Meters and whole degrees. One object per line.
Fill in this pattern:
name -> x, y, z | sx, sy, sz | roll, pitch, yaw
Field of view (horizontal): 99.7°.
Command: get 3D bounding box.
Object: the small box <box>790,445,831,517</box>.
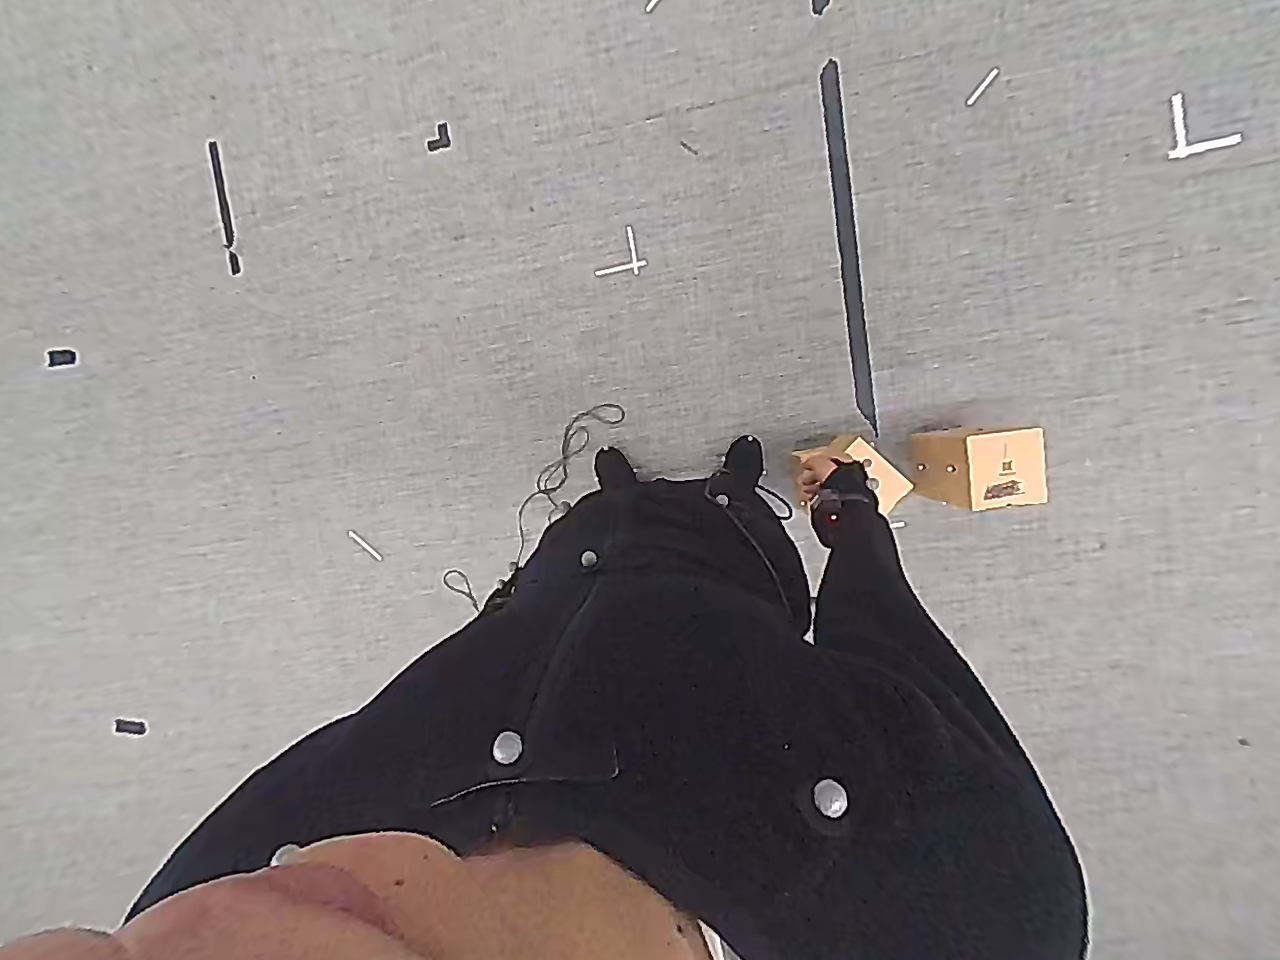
small box -> 0.525, -0.005, 1.510 | 0.168, 0.176, 0.179 | -11, 95, 7

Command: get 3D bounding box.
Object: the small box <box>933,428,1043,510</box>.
small box -> 0.835, -0.031, 1.309 | 0.168, 0.176, 0.179 | -7, 94, 6

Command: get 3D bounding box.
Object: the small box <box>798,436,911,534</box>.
small box -> 0.521, 0.006, 1.346 | 0.179, 0.176, 0.168 | 42, 99, -1
